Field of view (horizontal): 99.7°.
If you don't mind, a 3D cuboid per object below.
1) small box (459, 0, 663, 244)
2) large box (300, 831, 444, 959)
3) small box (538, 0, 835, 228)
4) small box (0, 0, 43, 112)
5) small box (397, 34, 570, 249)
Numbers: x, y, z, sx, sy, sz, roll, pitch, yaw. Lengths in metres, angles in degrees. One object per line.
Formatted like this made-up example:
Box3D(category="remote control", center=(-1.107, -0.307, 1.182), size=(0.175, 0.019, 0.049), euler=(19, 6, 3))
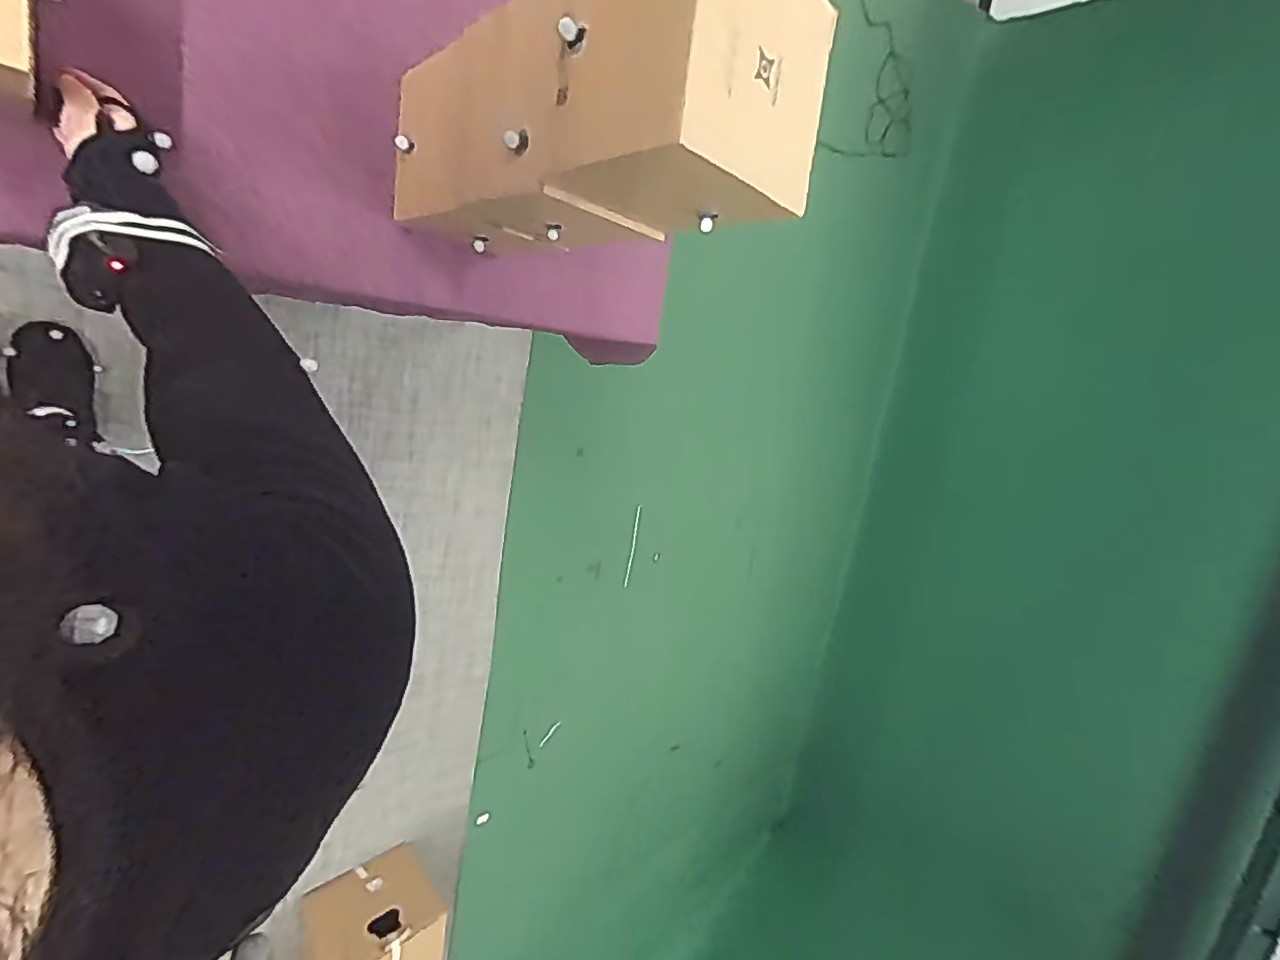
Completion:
Box3D(category="small box", center=(-0.077, -0.363, 0.577), size=(0.168, 0.176, 0.179), euler=(-4, 107, -47))
Box3D(category="large box", center=(-0.848, 1.436, 1.699), size=(0.320, 0.320, 0.408), euler=(-4, 109, -47))
Box3D(category="small box", center=(0.038, -0.328, 0.466), size=(0.179, 0.176, 0.168), euler=(-4, 106, -46))
Box3D(category="small box", center=(-0.511, -0.379, 0.349), size=(0.168, 0.176, 0.179), euler=(-2, 107, -47))
Box3D(category="small box", center=(-0.192, -0.405, 0.688), size=(0.168, 0.176, 0.179), euler=(-4, 108, -47))
